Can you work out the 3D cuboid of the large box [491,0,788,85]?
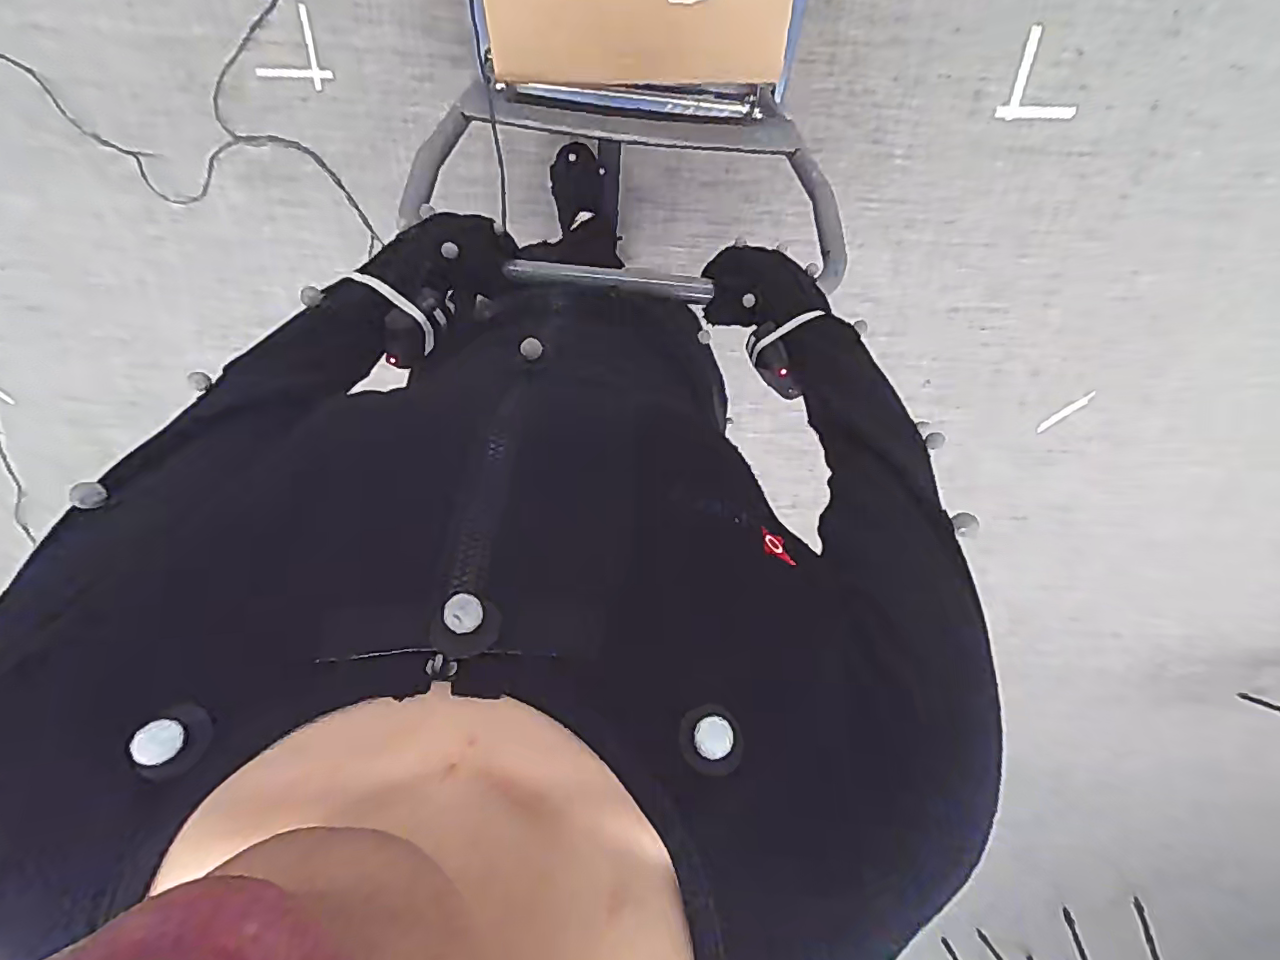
[{"bbox_3d":[-0.006,-0.790,0.777,0.408,0.320,0.320,-1,136,-1],"label":"large box"}]
